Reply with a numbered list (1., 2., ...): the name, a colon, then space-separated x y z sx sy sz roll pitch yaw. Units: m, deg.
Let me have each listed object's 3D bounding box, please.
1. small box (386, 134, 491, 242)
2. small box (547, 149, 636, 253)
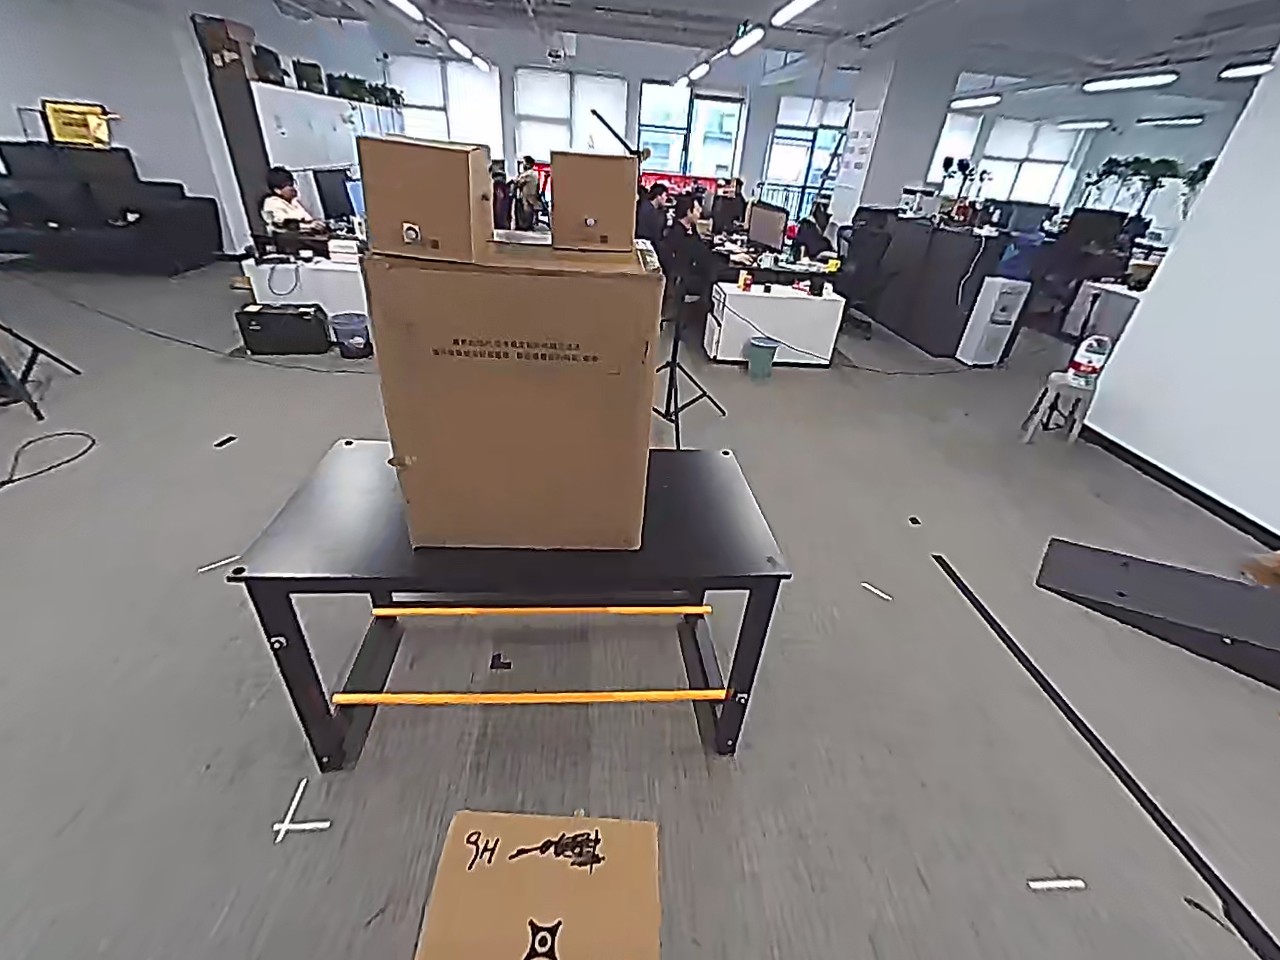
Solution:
1. small box: -0.397 -0.590 1.098 0.168 0.176 0.179 0 30 -8
2. small box: -0.104 -0.569 1.104 0.168 0.176 0.179 -1 31 -8
